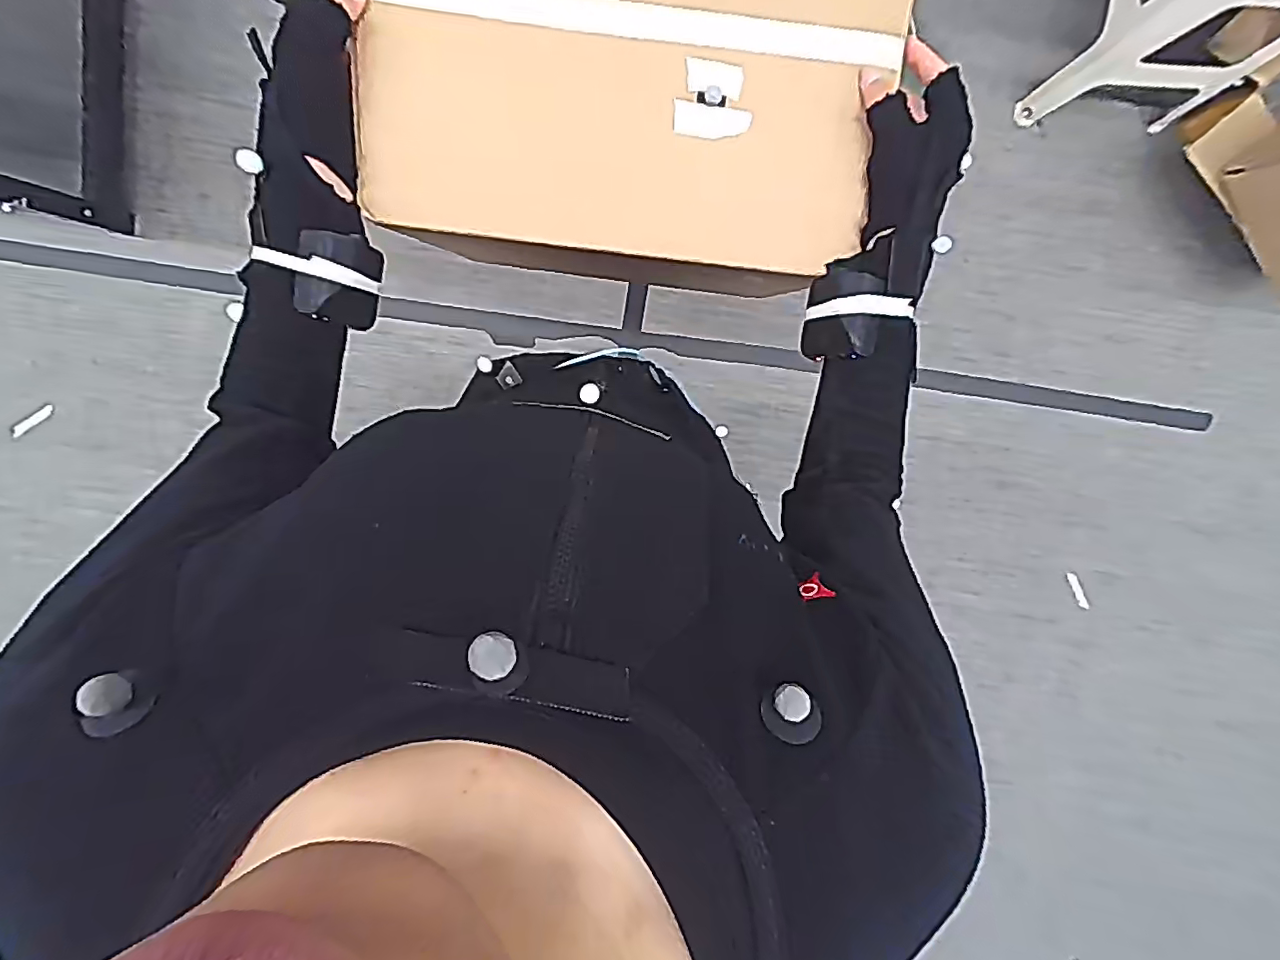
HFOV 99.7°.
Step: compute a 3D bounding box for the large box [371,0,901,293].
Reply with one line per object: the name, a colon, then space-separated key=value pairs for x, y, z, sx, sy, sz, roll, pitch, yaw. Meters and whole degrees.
large box: x=-0.008 y=-0.381 z=0.556 sx=0.408 sy=0.320 sz=0.320 roll=6 pitch=107 yaw=-3
